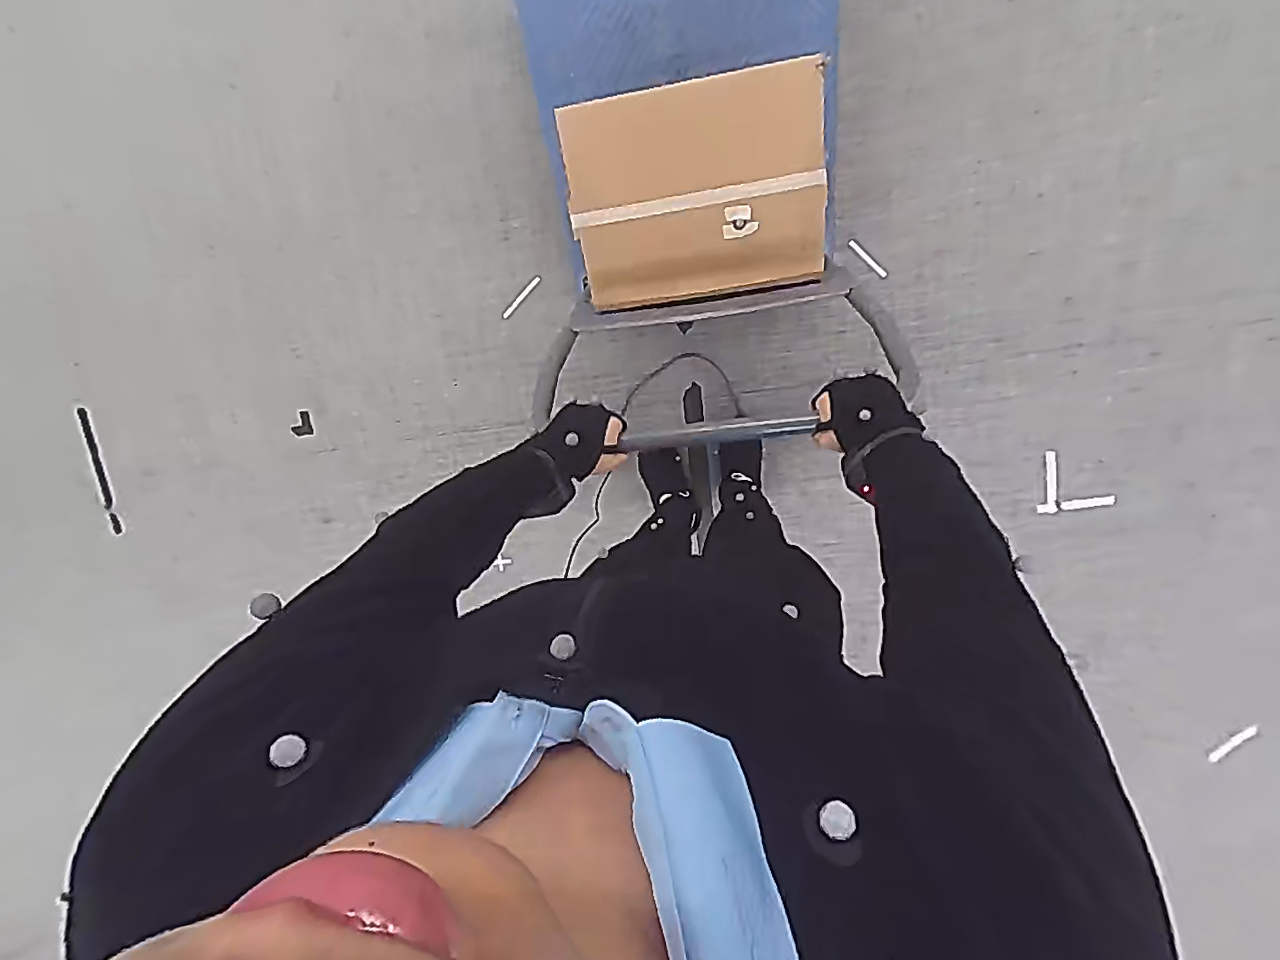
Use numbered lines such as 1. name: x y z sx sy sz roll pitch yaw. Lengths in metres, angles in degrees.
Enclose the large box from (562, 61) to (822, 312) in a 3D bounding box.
1. large box: 0.103 -0.536 1.023 0.408 0.320 0.320 -6 120 8
